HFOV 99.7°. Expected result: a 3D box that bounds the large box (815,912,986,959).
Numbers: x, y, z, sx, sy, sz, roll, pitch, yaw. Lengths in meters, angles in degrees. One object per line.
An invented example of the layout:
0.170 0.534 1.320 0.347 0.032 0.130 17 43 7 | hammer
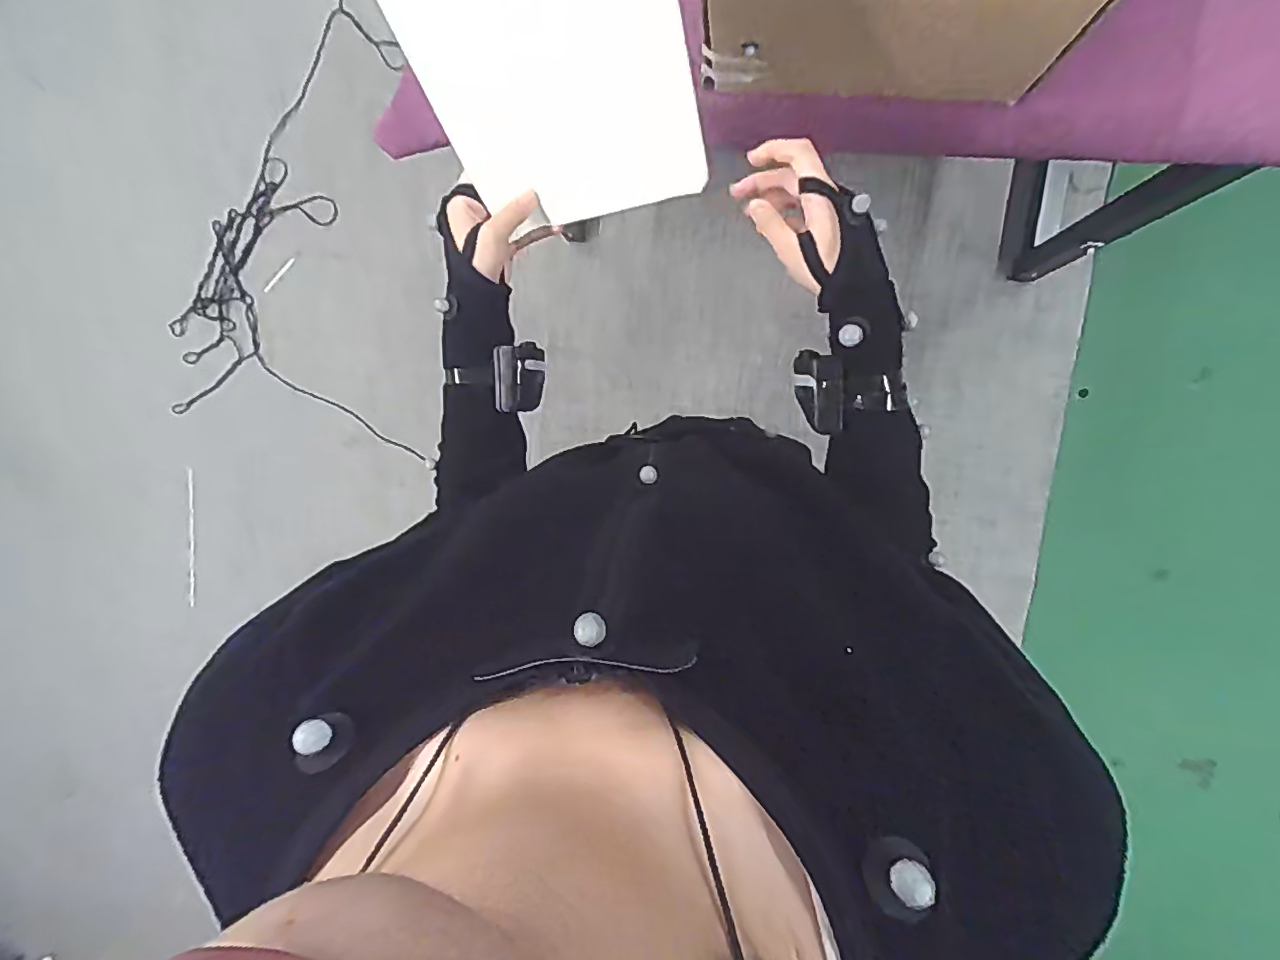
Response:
0.698 1.382 1.384 0.408 0.320 0.320 -8 95 8 | large box
